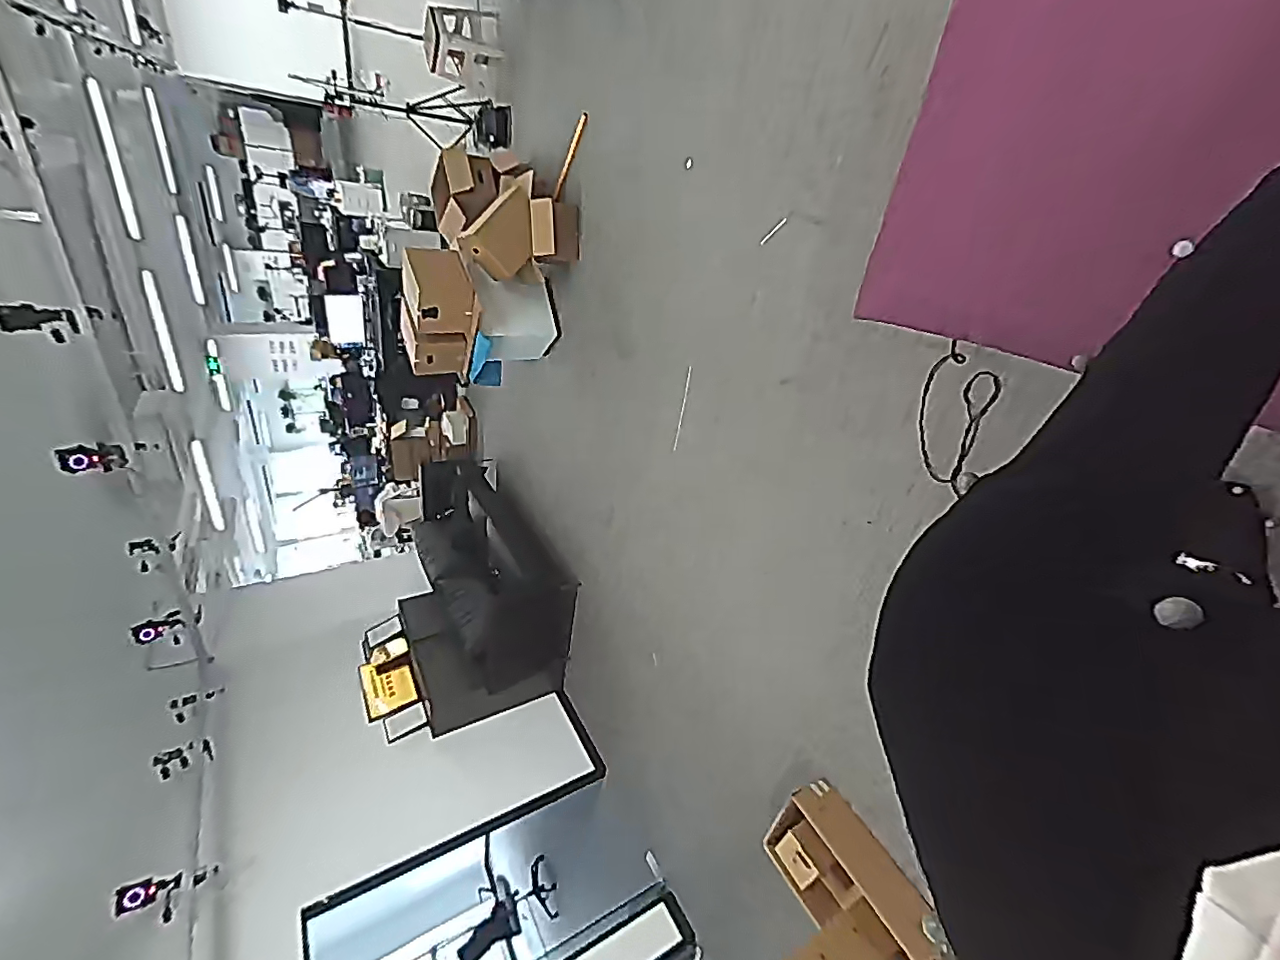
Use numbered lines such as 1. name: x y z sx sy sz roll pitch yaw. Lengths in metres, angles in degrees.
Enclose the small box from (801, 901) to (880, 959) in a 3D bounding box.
1. small box: 0.696 1.621 1.870 0.168 0.176 0.179 42 133 44
